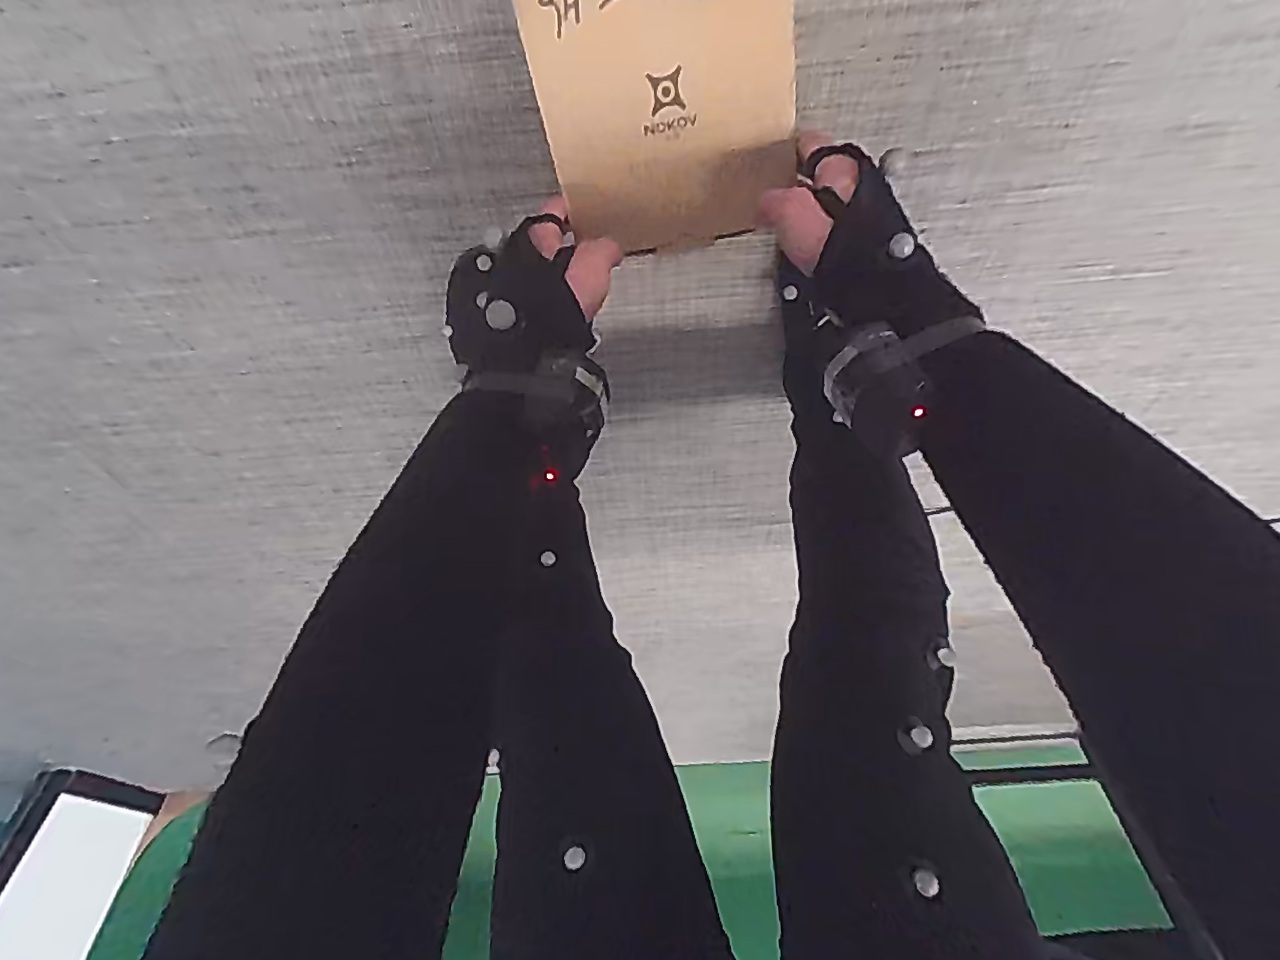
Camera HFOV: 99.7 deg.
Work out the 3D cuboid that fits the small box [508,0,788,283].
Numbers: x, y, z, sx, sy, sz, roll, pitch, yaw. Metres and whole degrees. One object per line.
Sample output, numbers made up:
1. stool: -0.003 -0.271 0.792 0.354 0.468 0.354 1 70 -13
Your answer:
1. small box: 0.018 -0.279 0.422 0.168 0.176 0.179 -8 128 8
